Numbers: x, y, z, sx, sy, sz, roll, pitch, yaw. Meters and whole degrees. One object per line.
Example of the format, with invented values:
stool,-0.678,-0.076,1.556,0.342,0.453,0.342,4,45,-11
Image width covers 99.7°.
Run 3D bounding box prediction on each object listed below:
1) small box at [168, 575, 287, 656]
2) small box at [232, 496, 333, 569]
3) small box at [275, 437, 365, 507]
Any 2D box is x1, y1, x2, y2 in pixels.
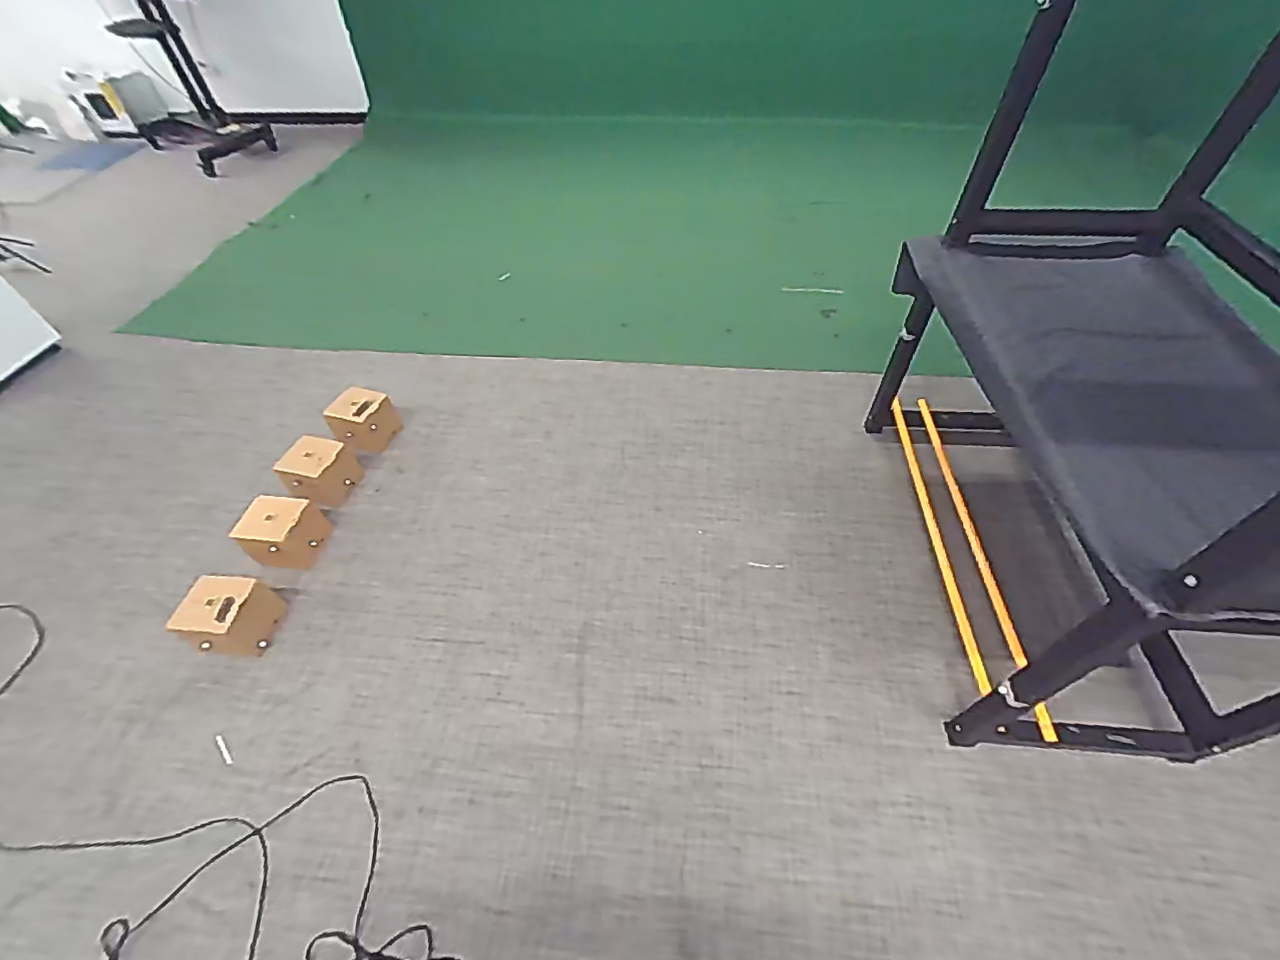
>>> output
small box,-1.159,0.389,1.538,0.179,0.176,0.168,3,49,5
small box,-1.132,0.170,1.728,0.179,0.176,0.168,5,50,4
small box,-1.113,-0.025,1.894,0.179,0.176,0.168,11,51,9
